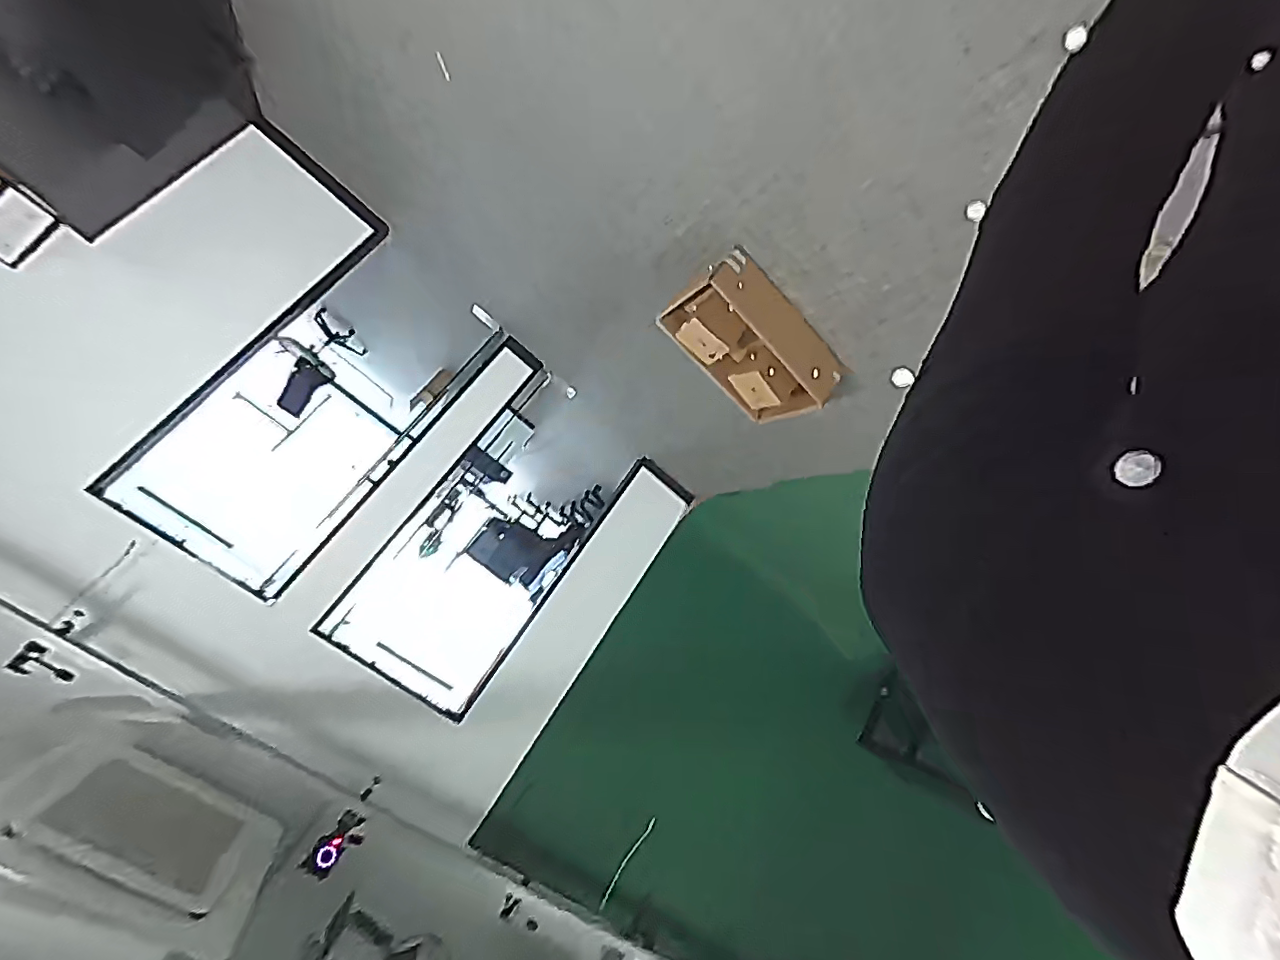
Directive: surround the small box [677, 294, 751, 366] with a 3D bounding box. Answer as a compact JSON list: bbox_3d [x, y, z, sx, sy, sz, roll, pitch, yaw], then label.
[{"bbox_3d":[0.277,-0.563,2.010,0.179,0.176,0.168,40,160,-13],"label":"small box"}]
